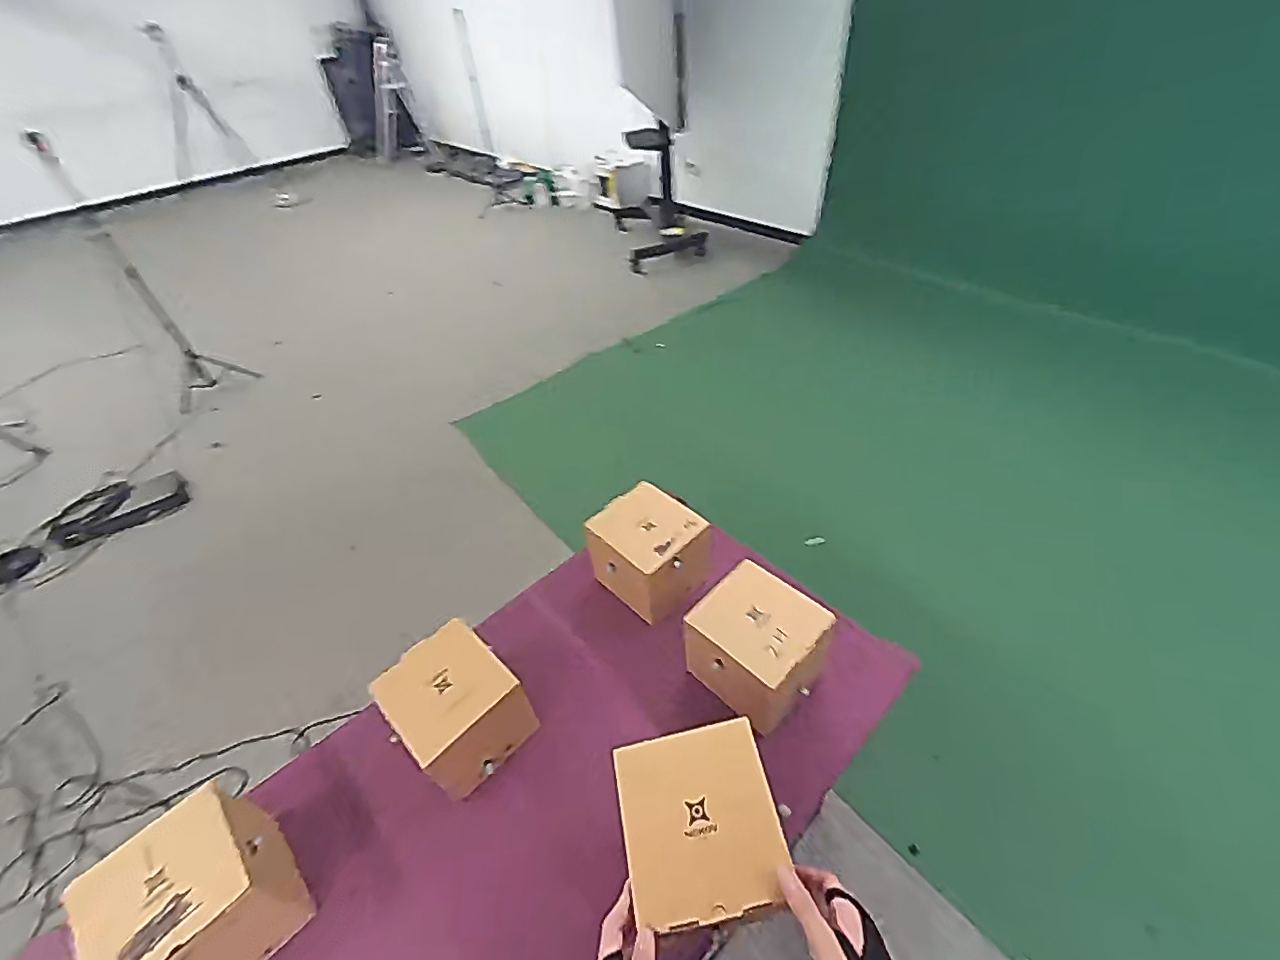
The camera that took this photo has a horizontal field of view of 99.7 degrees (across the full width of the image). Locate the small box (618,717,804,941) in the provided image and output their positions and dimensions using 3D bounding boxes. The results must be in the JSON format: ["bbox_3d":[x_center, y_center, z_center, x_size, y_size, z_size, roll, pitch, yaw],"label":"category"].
[{"bbox_3d":[0.076,0.407,0.629,0.168,0.176,0.179,-13,48,1],"label":"small box"}]

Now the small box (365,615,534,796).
[{"bbox_3d":[-0.295,0.359,0.861,0.179,0.176,0.168,32,55,32],"label":"small box"}]

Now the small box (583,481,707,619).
[{"bbox_3d":[0.013,0.138,1.063,0.168,0.176,0.179,-36,51,-28],"label":"small box"}]

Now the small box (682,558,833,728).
[{"bbox_3d":[0.188,0.271,0.899,0.168,0.176,0.179,-36,50,-27],"label":"small box"}]

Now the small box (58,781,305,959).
[{"bbox_3d":[-0.573,0.538,0.694,0.179,0.176,0.168,31,53,33],"label":"small box"}]
